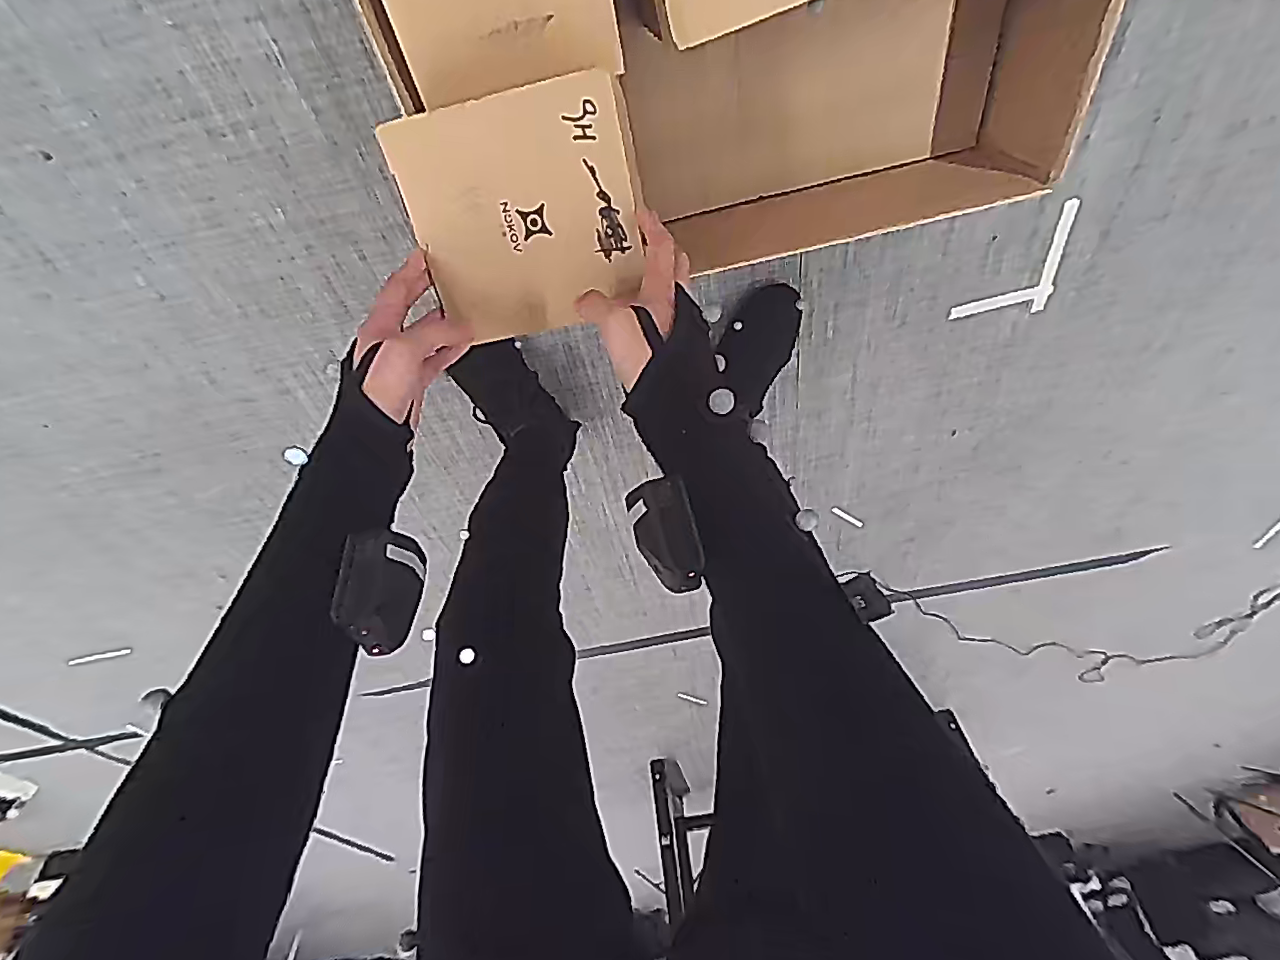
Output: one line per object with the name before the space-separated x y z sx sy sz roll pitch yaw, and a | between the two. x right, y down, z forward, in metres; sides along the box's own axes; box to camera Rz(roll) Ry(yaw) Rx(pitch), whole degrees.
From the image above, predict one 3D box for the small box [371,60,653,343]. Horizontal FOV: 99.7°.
small box | -0.087 -0.237 0.474 0.179 0.176 0.168 -9 121 7
